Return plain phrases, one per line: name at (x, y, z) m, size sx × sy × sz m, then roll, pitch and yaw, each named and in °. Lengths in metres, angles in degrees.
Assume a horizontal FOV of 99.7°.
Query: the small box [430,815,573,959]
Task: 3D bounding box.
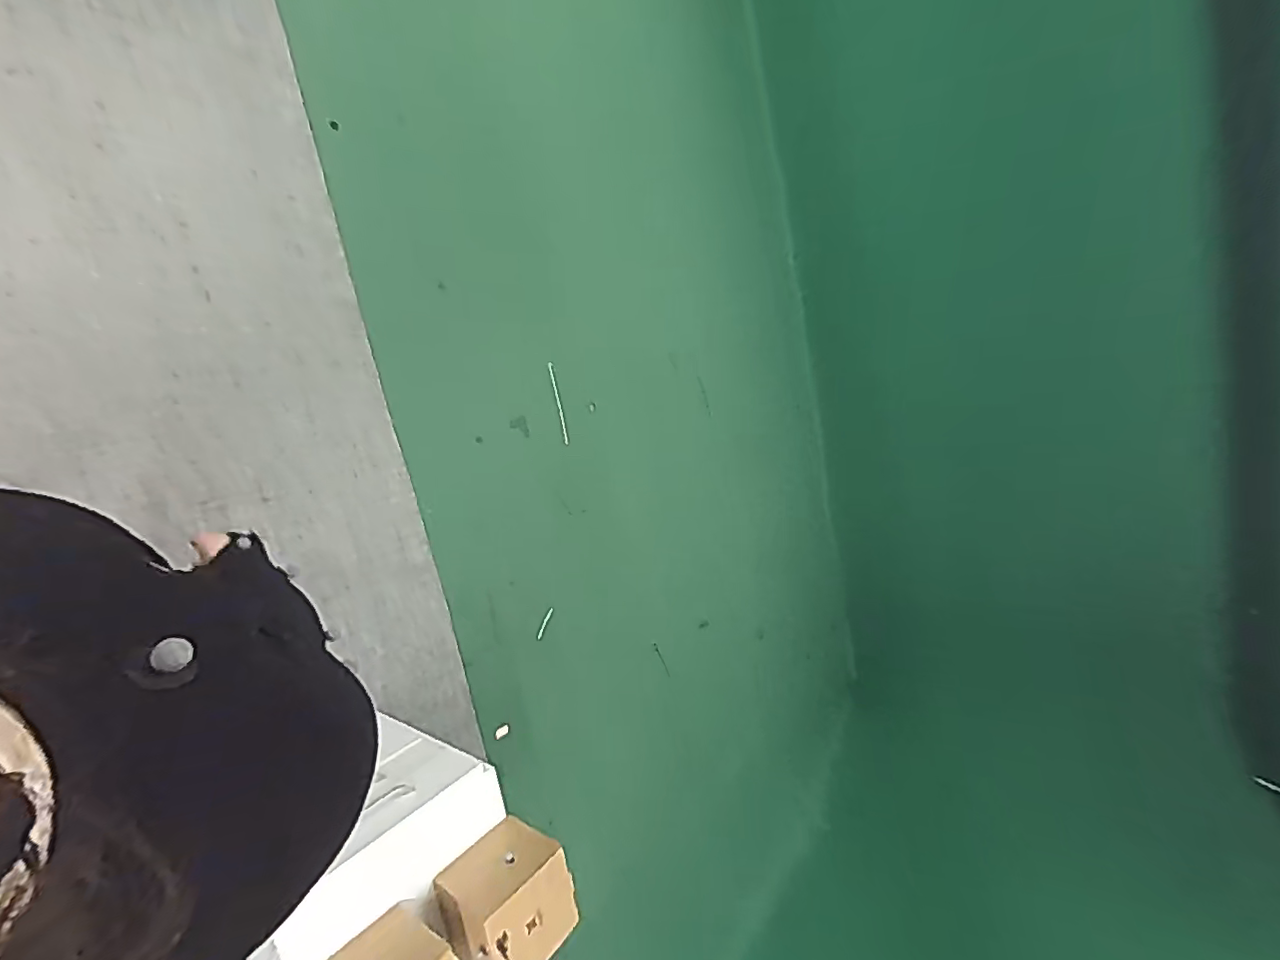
small box at (-0.256, 0.770, 1.005) m, size 0.179 × 0.176 × 0.168 m, roll -20°, pitch 102°, yaw -49°
